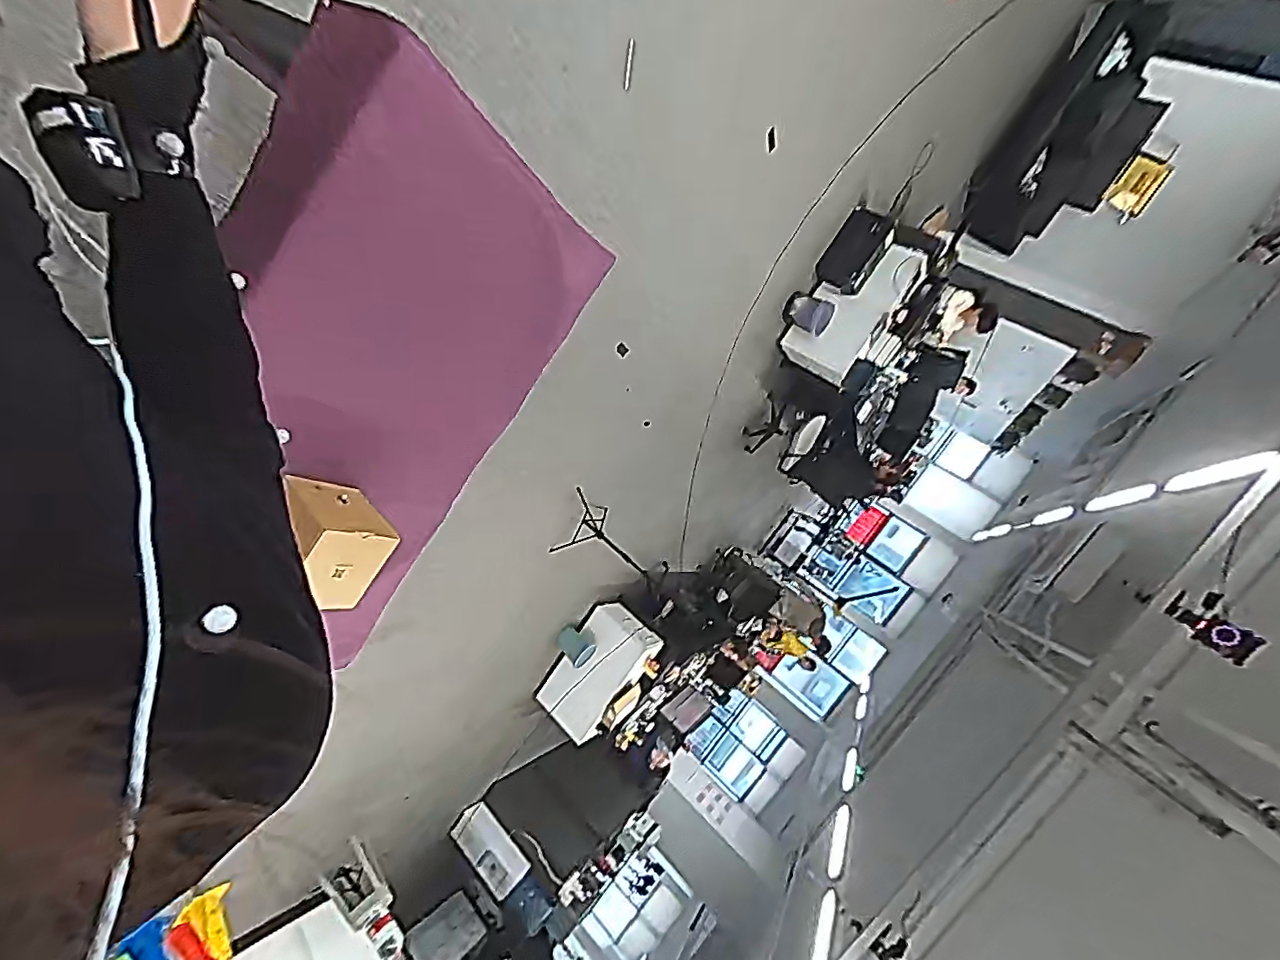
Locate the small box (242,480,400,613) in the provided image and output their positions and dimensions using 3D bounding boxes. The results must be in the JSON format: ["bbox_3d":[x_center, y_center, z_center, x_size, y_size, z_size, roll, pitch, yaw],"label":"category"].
[{"bbox_3d":[-0.603,0.128,1.017,0.179,0.176,0.168,-55,156,4],"label":"small box"}]
